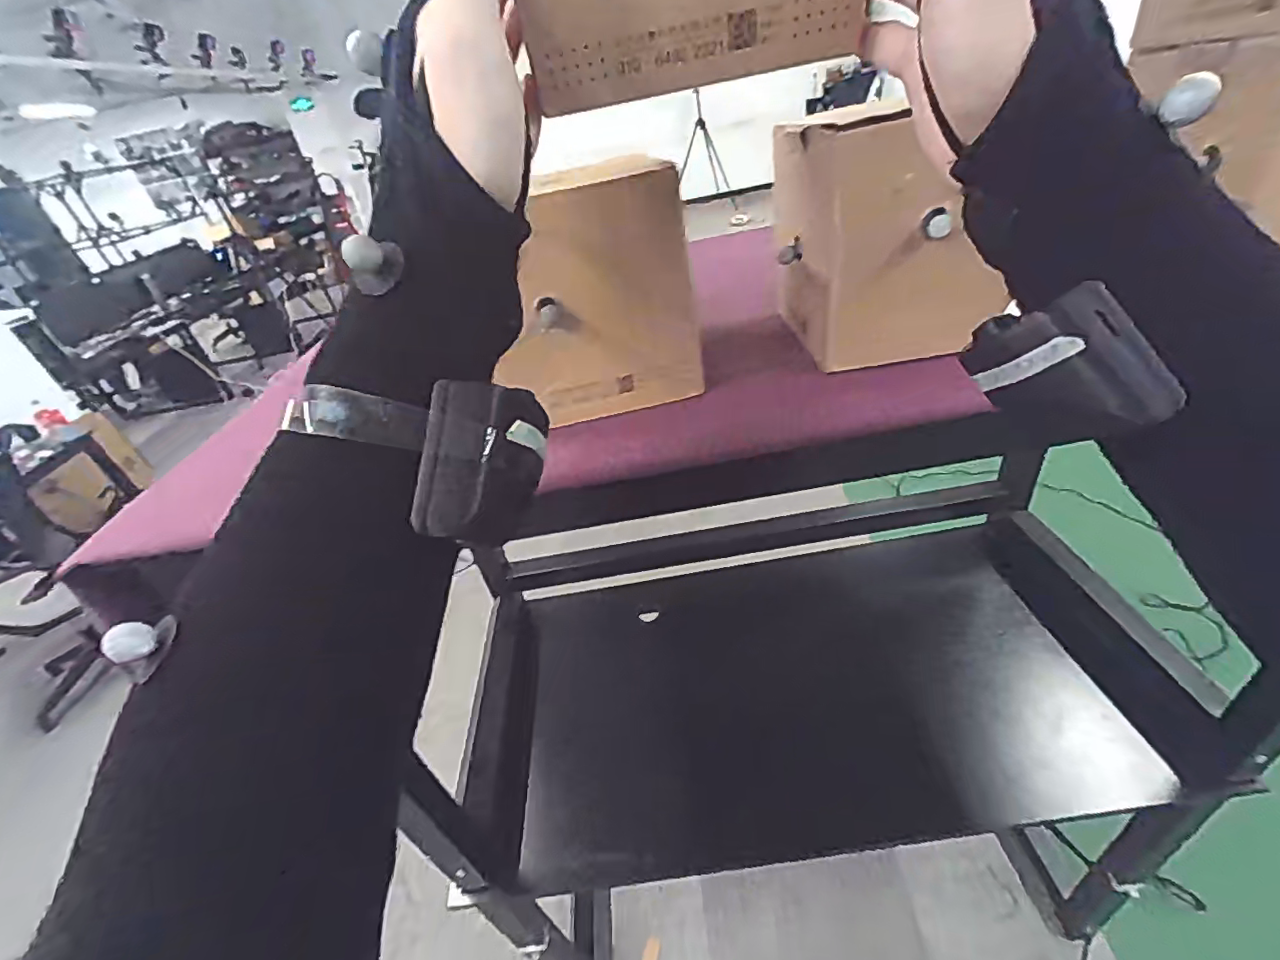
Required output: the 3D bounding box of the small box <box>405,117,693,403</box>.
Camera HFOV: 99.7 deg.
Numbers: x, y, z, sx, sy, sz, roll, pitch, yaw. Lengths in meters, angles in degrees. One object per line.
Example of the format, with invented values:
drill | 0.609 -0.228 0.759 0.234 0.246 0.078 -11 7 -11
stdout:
small box | -0.059 -0.173 0.434 0.168 0.176 0.179 -12 35 -1
